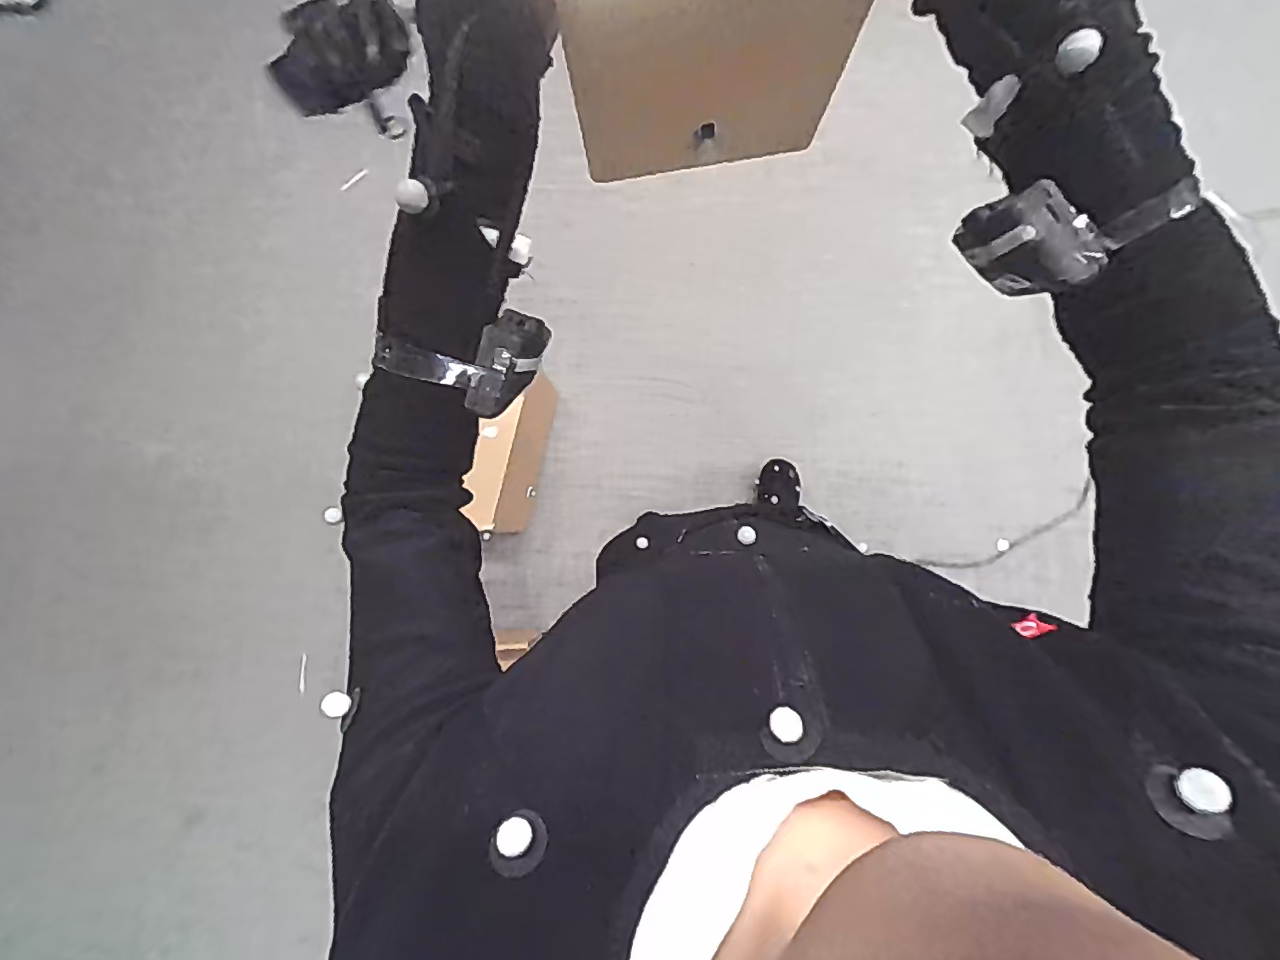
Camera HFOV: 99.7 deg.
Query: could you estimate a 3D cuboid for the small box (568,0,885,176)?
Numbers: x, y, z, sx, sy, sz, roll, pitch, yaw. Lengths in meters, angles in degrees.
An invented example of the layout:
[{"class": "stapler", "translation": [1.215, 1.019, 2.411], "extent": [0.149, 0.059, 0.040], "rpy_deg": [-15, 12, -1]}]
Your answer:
[{"class": "small box", "translation": [0.041, -0.331, 0.350], "extent": [0.179, 0.176, 0.168], "rpy_deg": [-8, 87, 1]}]
